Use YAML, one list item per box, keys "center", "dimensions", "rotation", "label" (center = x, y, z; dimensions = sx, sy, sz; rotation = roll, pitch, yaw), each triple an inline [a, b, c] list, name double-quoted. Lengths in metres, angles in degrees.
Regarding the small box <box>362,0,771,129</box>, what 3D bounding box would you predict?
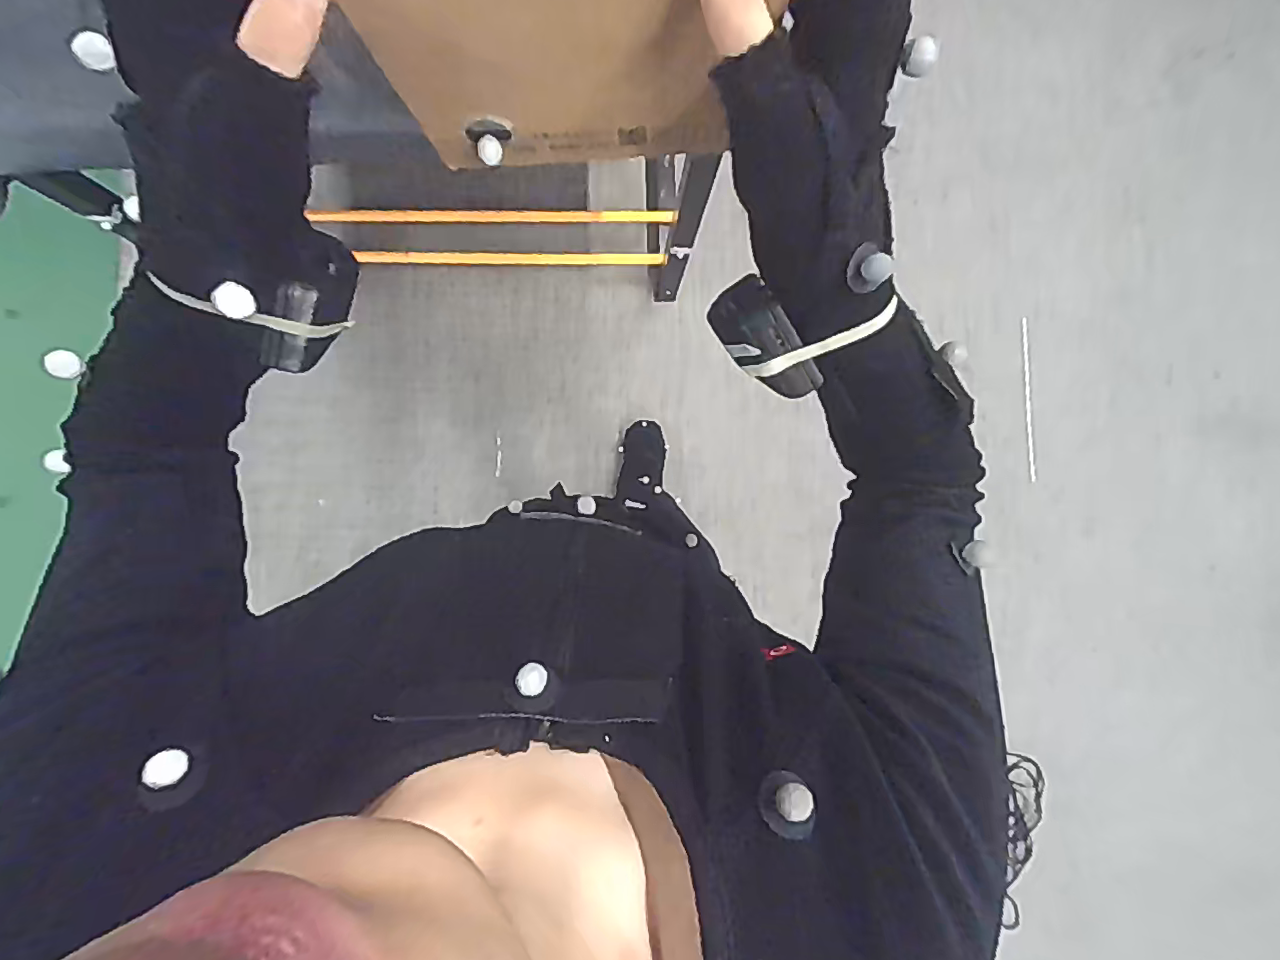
- center: [-0.030, -0.266, 0.209]
  dimensions: [0.168, 0.176, 0.179]
  rotation: [-3, 90, 0]
  label: "small box"
